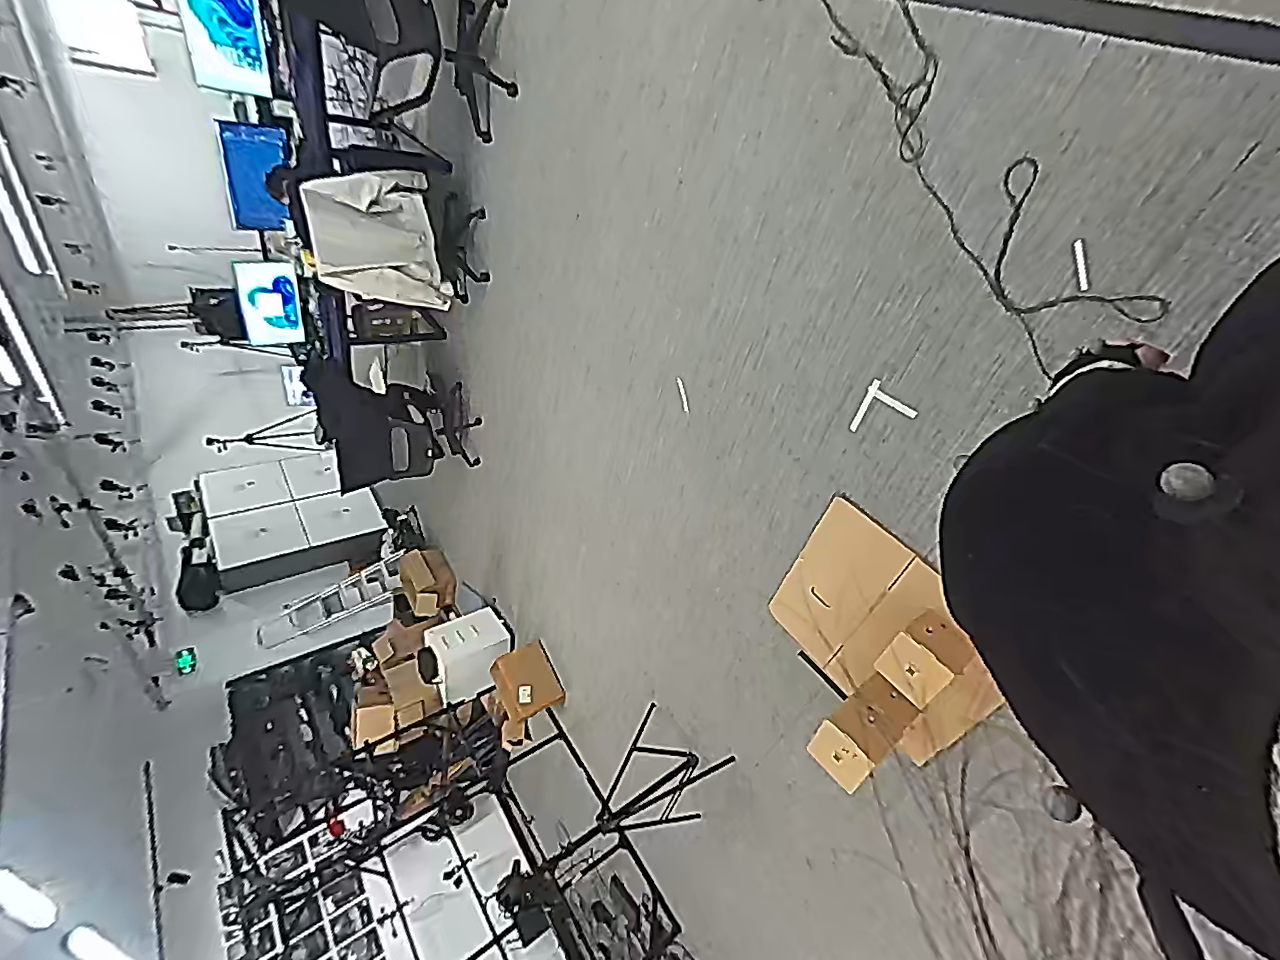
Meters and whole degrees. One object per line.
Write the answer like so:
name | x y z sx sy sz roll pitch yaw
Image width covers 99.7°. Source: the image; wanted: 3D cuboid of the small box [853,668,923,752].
small box | 0.756 0.723 1.698 0.168 0.176 0.179 40 132 37

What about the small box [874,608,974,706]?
small box | 0.812 0.497 1.538 0.168 0.176 0.179 45 136 34

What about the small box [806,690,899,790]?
small box | 0.630 0.764 1.600 0.168 0.176 0.179 41 133 35
